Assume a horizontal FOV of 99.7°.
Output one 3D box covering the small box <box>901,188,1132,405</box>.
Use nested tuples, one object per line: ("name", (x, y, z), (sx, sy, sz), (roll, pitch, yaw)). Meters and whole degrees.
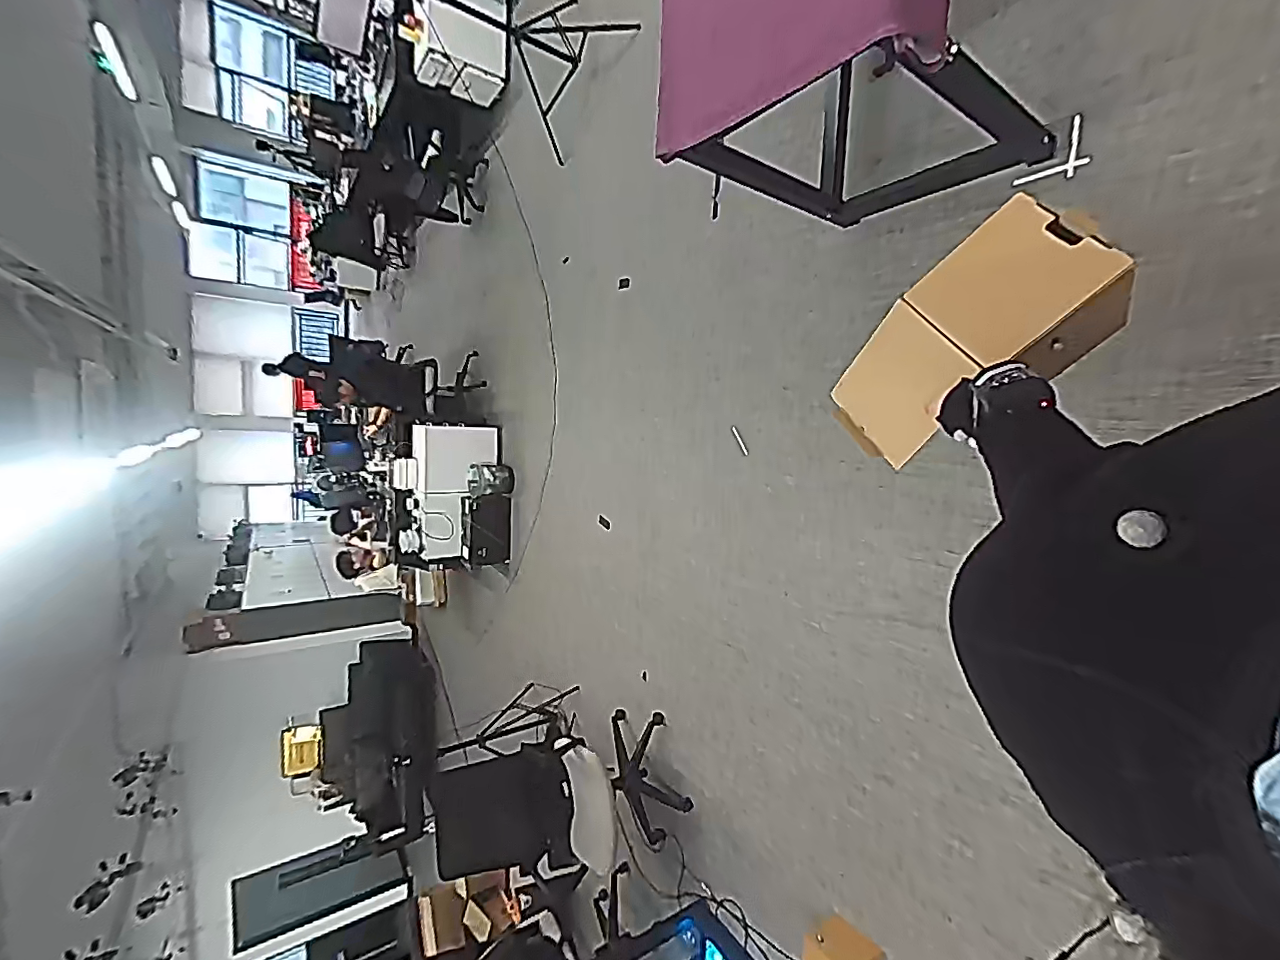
("small box", (0.486, -0.225, 0.707), (0.179, 0.176, 0.168), (-43, 56, 23))
